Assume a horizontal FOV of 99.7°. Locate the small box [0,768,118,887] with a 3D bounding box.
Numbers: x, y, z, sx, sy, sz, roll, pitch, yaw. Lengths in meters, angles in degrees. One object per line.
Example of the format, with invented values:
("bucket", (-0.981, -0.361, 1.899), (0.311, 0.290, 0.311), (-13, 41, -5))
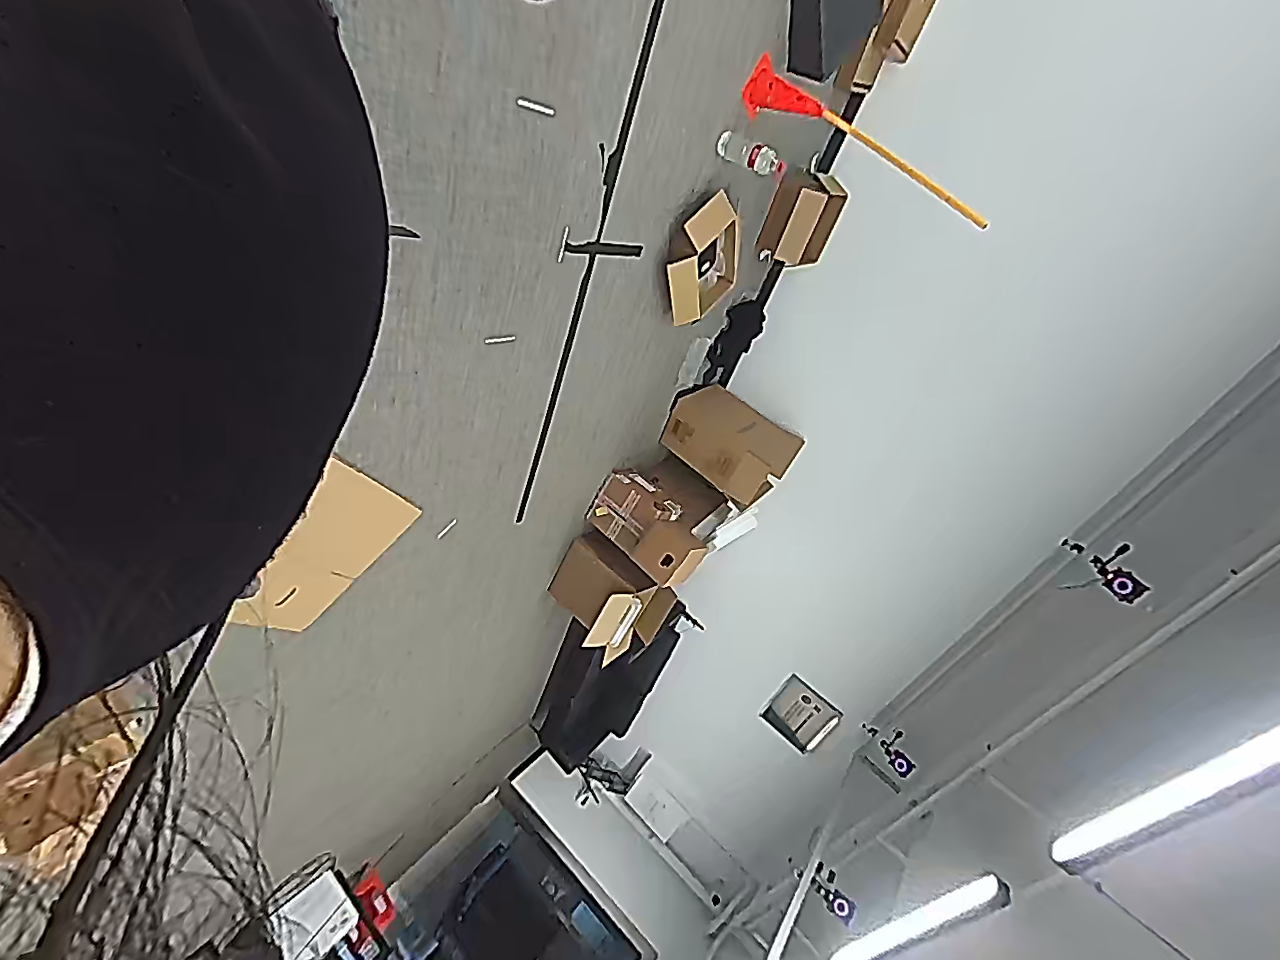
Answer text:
("small box", (-1.505, 0.884, 1.391), (0.168, 0.176, 0.179), (-29, 149, -46))
